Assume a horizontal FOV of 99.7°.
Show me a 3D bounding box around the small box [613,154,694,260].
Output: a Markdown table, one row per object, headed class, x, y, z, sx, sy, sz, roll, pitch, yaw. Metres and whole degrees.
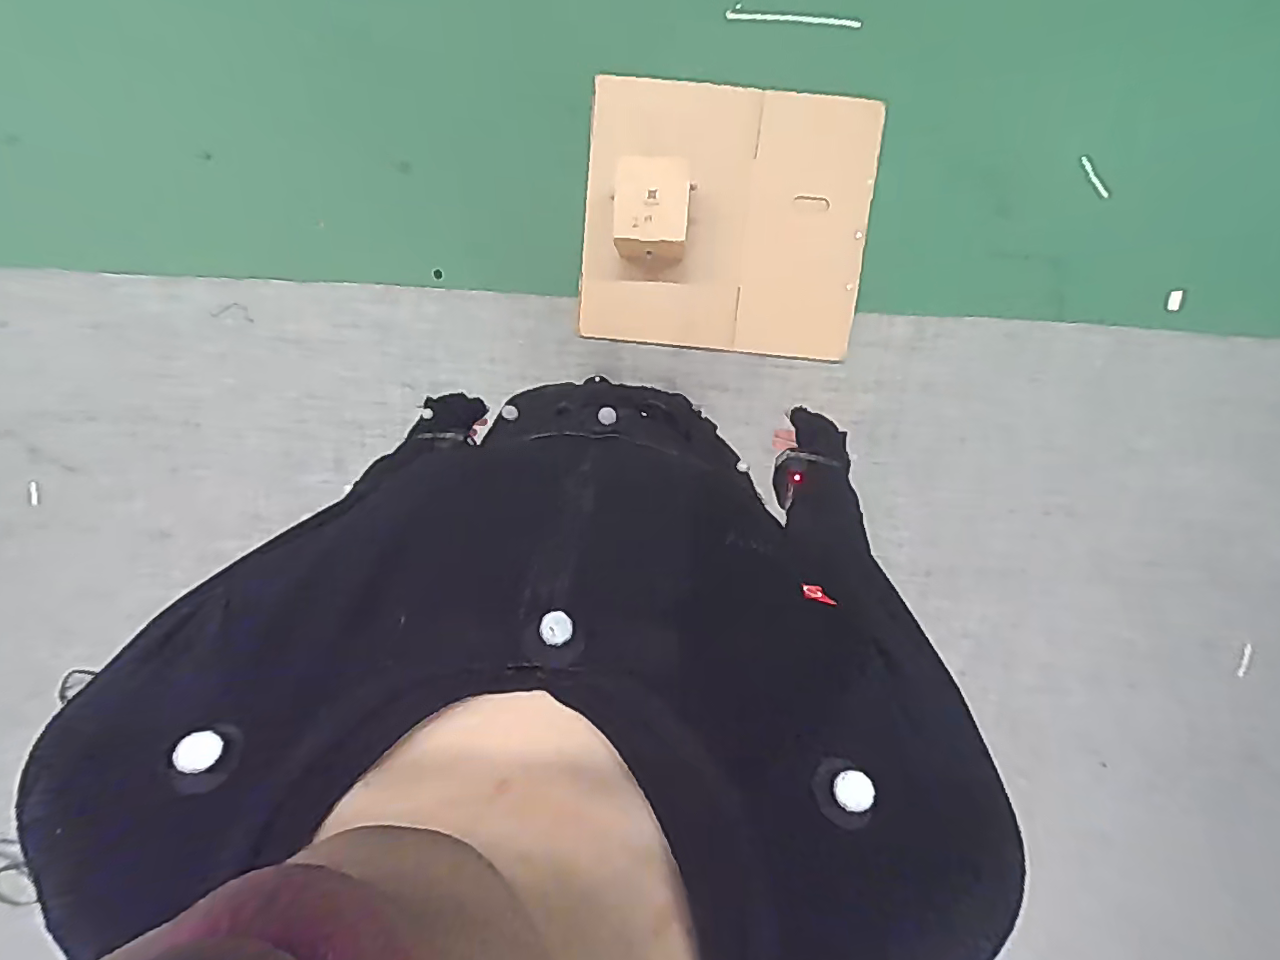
| class | x | y | z | sx | sy | sz | roll | pitch | yaw |
| --- | --- | --- | --- | --- | --- | --- | --- | --- | --- |
| small box | 0.031 | -0.626 | 1.255 | 0.168 | 0.176 | 0.179 | 5 | 101 | 2 |
